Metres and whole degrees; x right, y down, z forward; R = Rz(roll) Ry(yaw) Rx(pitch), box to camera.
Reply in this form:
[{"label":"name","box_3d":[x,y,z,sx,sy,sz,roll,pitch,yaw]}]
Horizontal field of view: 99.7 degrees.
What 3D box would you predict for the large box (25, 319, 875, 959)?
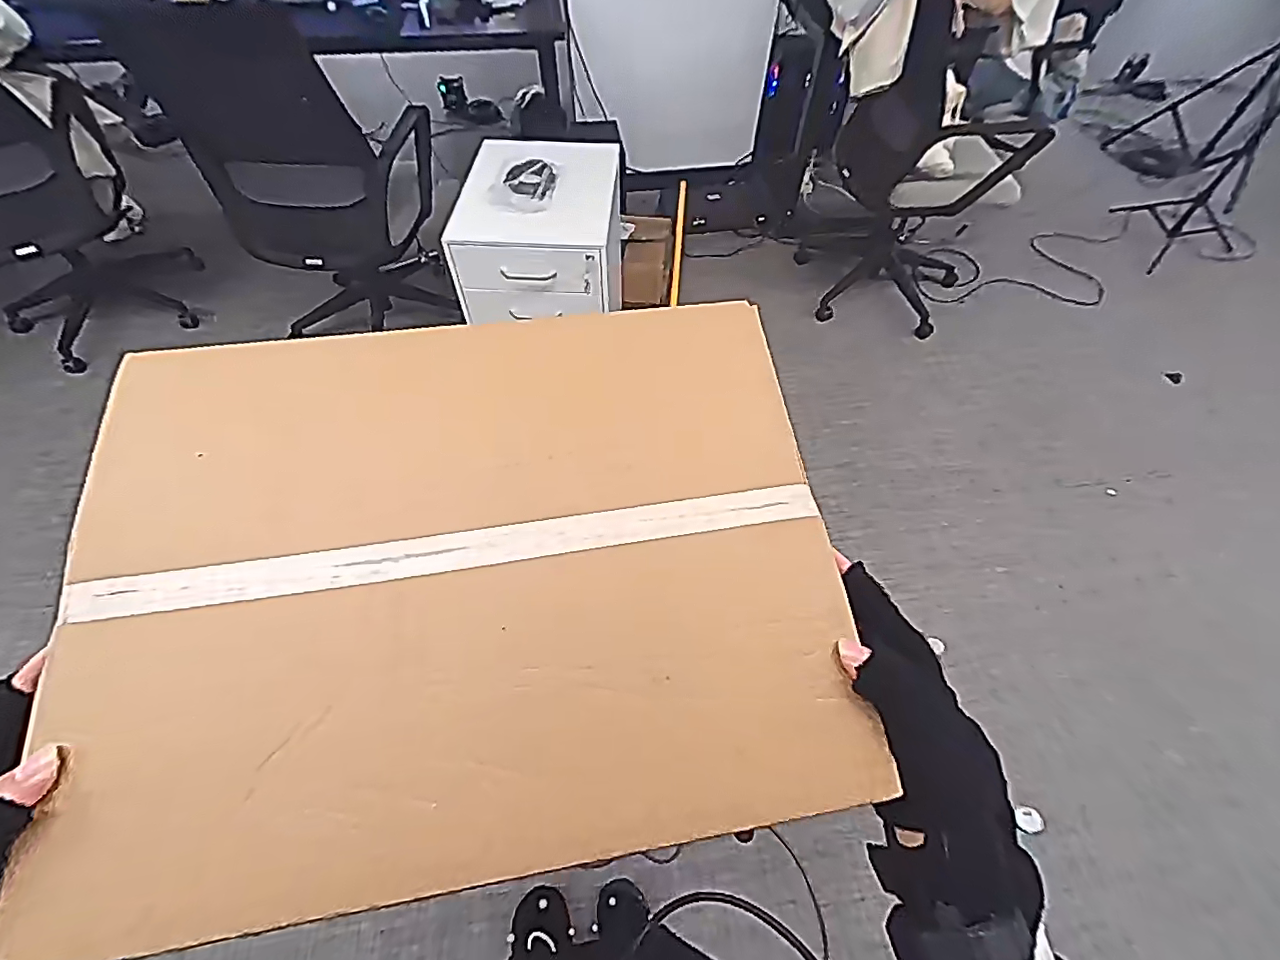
[{"label":"large box","box_3d":[-0.103,0.107,0.446,0.408,0.320,0.320,-7,67,-7]}]
